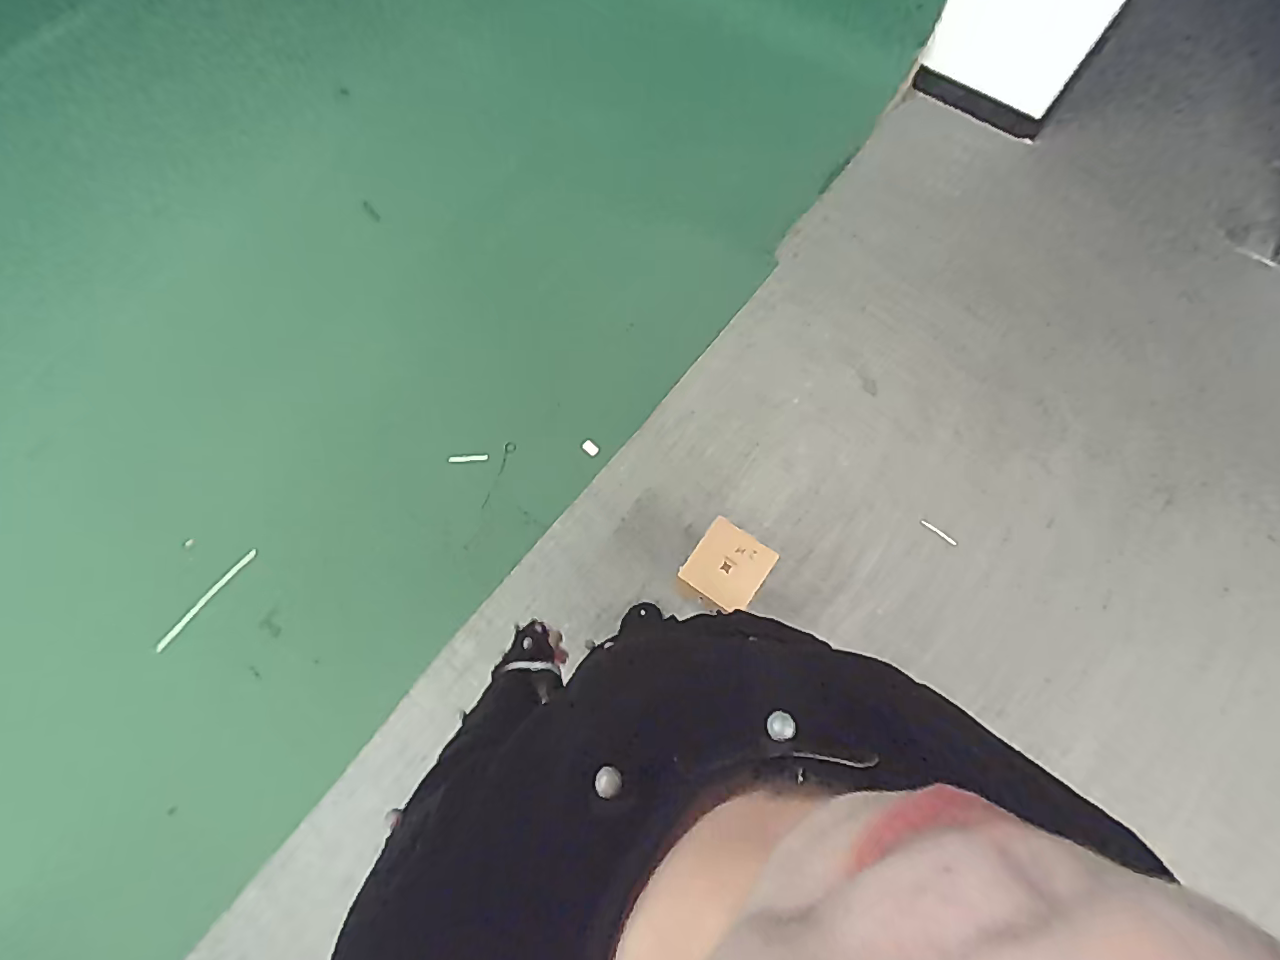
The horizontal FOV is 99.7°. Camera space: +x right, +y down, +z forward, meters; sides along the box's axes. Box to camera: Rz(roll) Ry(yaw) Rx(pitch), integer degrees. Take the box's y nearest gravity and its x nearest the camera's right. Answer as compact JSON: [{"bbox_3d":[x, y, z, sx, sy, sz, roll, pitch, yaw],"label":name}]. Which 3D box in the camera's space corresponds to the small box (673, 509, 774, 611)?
[{"bbox_3d":[0.193,0.199,1.295,0.168,0.176,0.179,36,78,10],"label":"small box"}]

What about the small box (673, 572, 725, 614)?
[{"bbox_3d":[0.203,0.244,1.453,0.168,0.176,0.179,37,78,11],"label":"small box"}]
